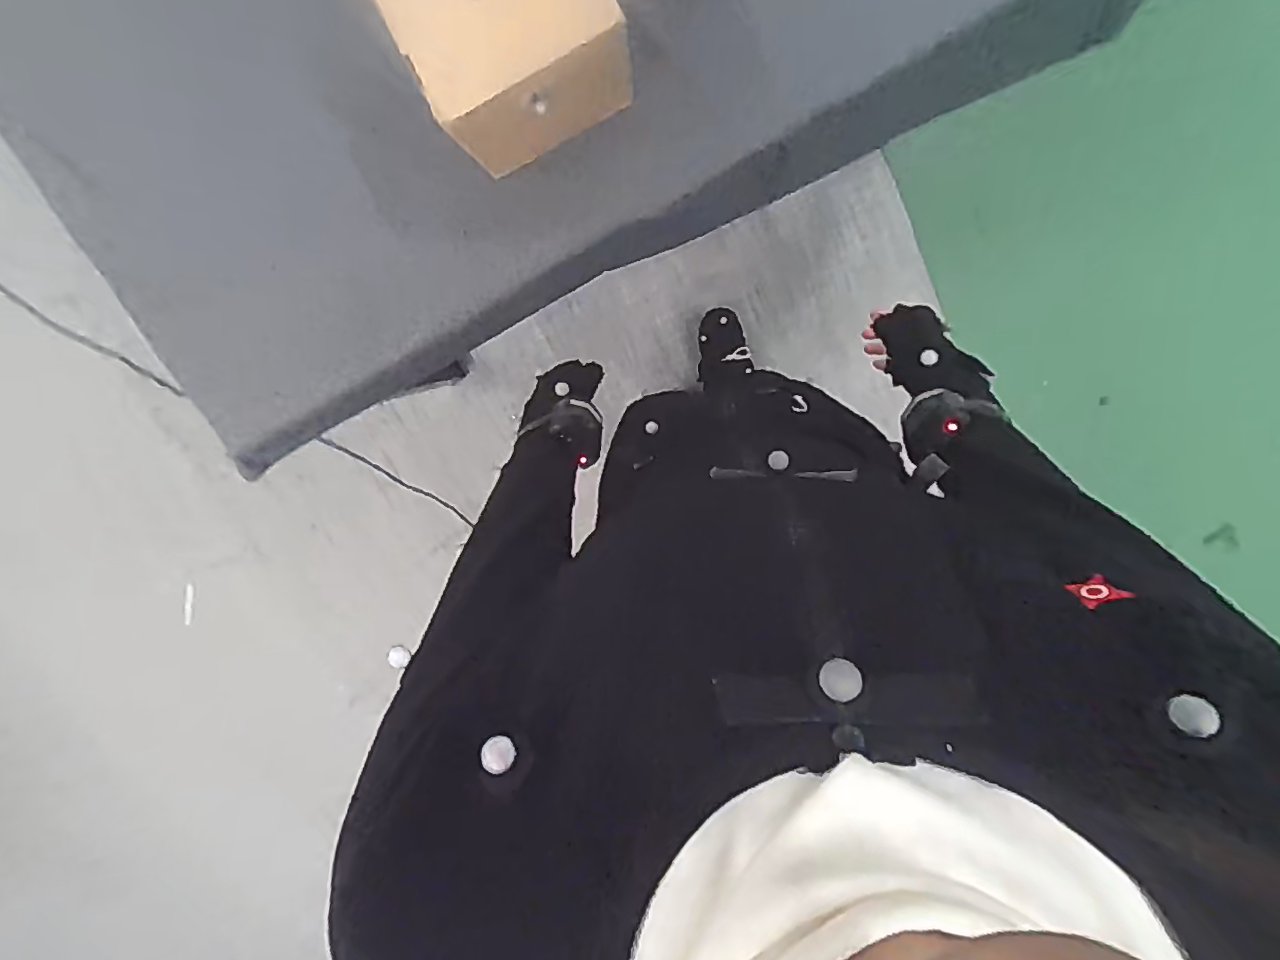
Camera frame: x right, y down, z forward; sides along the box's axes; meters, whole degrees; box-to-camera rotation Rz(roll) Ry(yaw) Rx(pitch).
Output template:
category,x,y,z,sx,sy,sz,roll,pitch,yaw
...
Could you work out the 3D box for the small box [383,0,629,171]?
category,x,y,z,sx,sy,sz,roll,pitch,yaw
small box,-0.121,-0.433,0.517,0.179,0.176,0.168,-25,103,8
